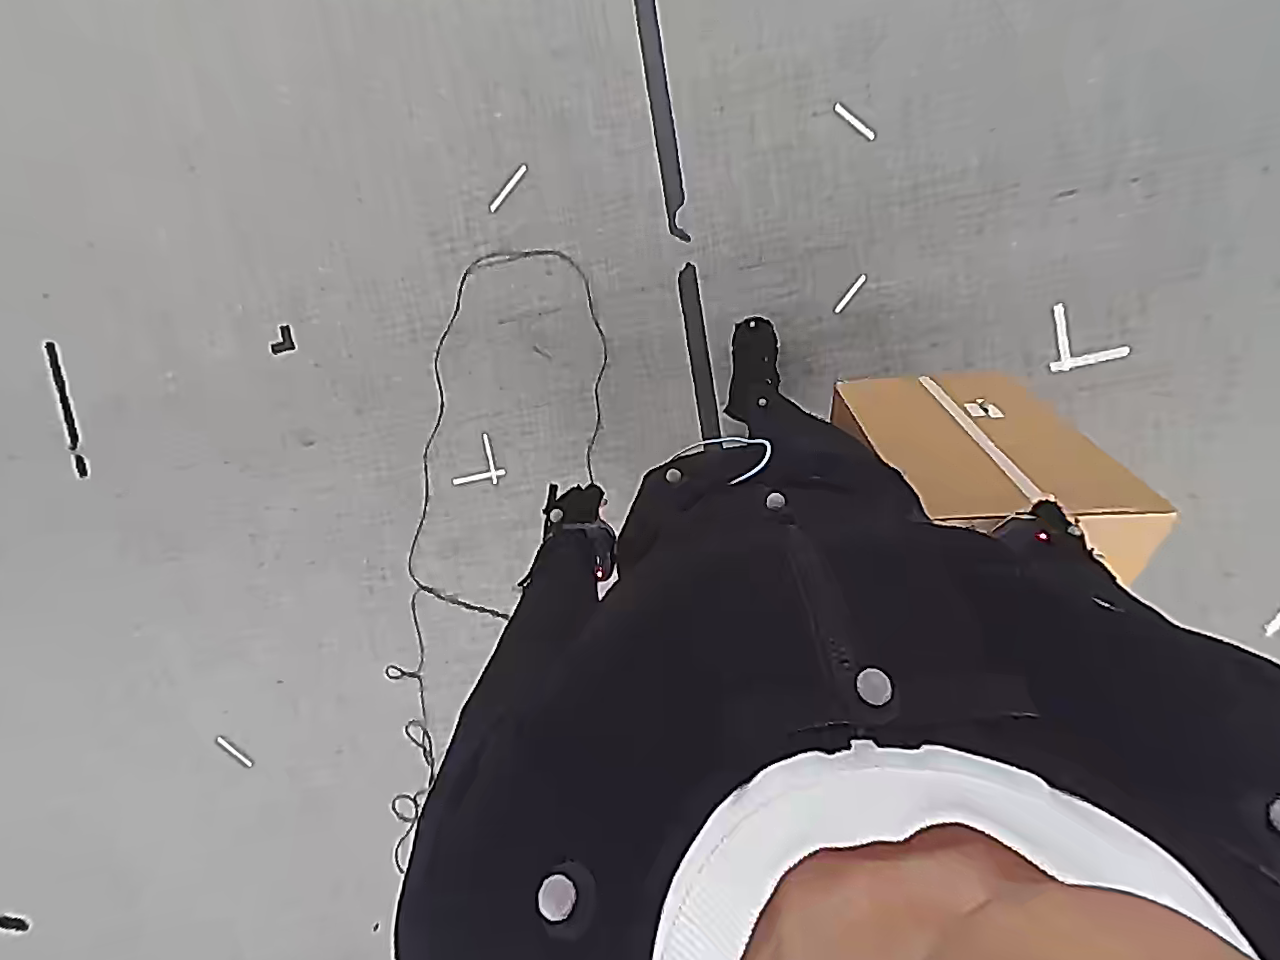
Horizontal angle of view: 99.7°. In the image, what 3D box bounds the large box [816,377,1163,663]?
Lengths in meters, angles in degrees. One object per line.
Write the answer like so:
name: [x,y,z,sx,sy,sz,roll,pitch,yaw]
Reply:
large box: [0.521,0.052,0.931,0.320,0.408,0.320,-2,124,2]
